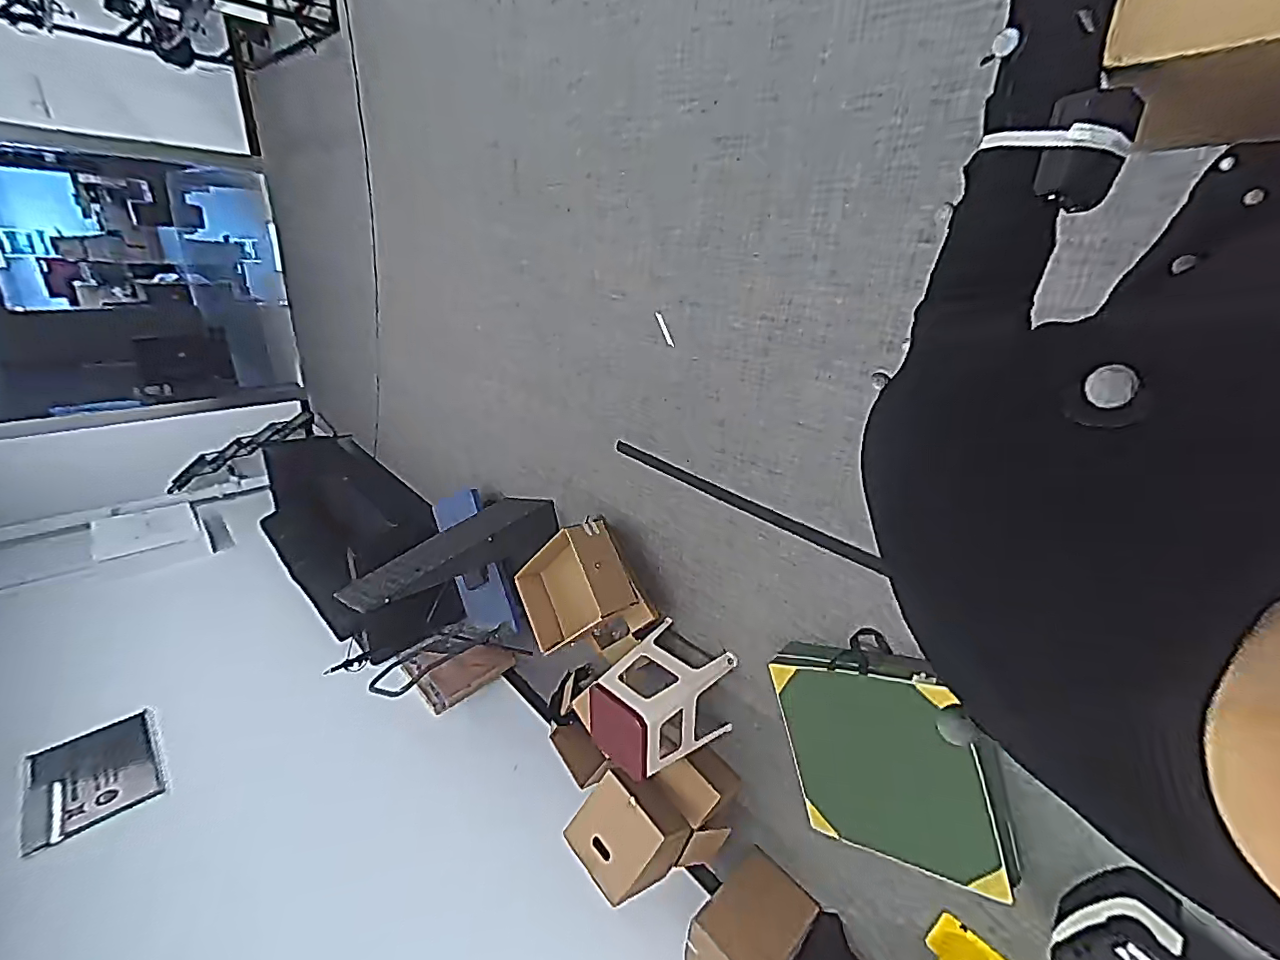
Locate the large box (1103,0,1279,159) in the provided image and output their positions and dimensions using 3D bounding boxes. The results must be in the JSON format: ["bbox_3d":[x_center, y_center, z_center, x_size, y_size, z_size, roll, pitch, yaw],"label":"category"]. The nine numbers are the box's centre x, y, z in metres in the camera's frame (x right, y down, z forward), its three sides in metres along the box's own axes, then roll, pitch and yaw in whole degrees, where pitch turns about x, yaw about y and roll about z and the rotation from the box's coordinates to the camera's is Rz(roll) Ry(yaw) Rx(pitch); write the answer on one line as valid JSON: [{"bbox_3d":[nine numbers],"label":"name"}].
[{"bbox_3d":[0.559,-0.403,0.297,0.408,0.320,0.320,19,117,39],"label":"large box"}]
